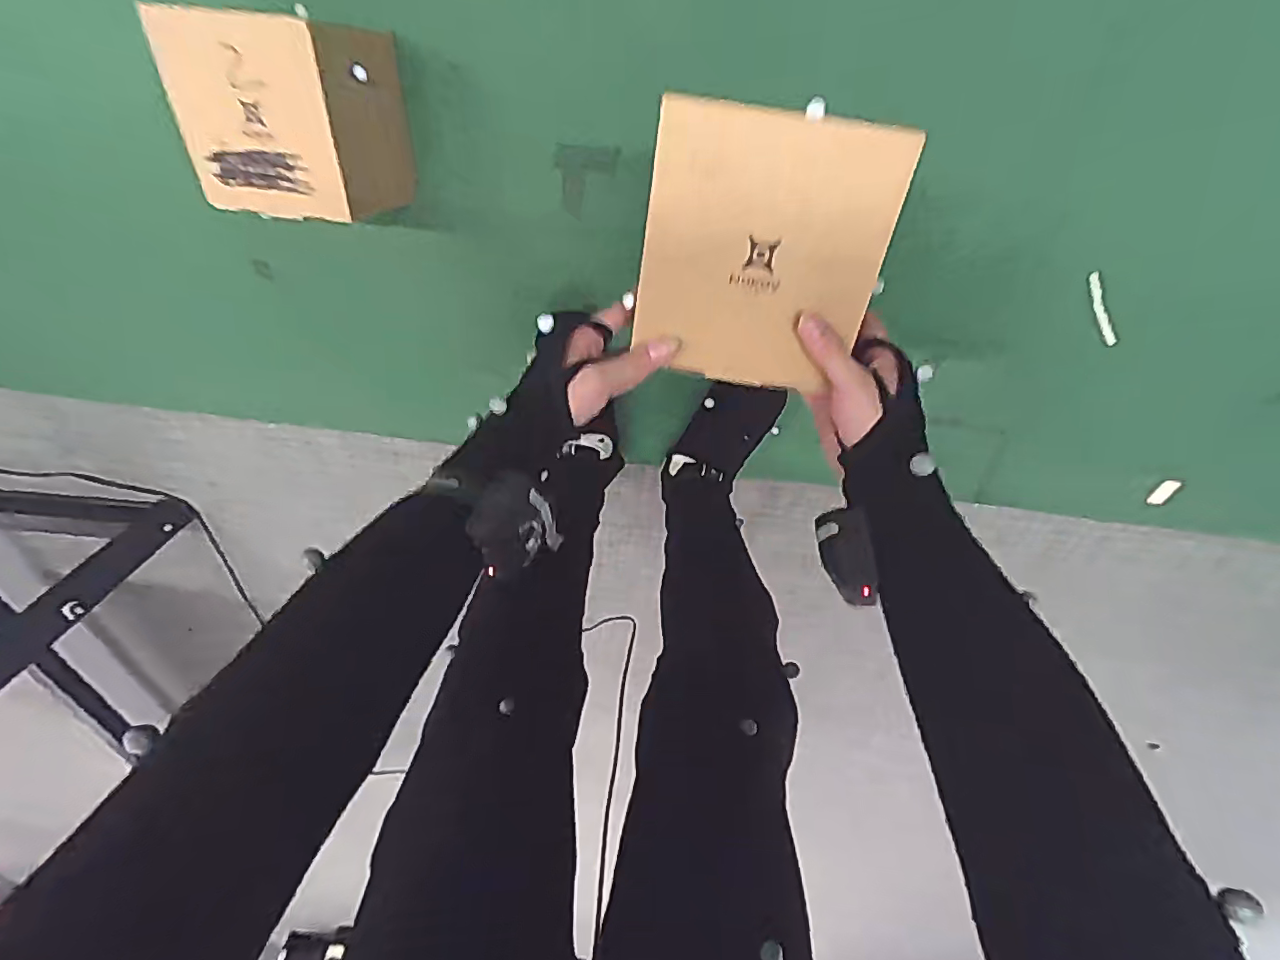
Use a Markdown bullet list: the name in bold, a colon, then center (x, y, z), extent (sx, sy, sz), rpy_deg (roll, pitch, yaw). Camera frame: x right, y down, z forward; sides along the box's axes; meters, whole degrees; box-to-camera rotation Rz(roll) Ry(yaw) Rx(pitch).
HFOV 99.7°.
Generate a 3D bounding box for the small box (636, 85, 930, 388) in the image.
- **small box**: center (0.097, -0.198, 0.444), extent (0.168, 0.176, 0.179), rpy_deg (10, 122, 3)
